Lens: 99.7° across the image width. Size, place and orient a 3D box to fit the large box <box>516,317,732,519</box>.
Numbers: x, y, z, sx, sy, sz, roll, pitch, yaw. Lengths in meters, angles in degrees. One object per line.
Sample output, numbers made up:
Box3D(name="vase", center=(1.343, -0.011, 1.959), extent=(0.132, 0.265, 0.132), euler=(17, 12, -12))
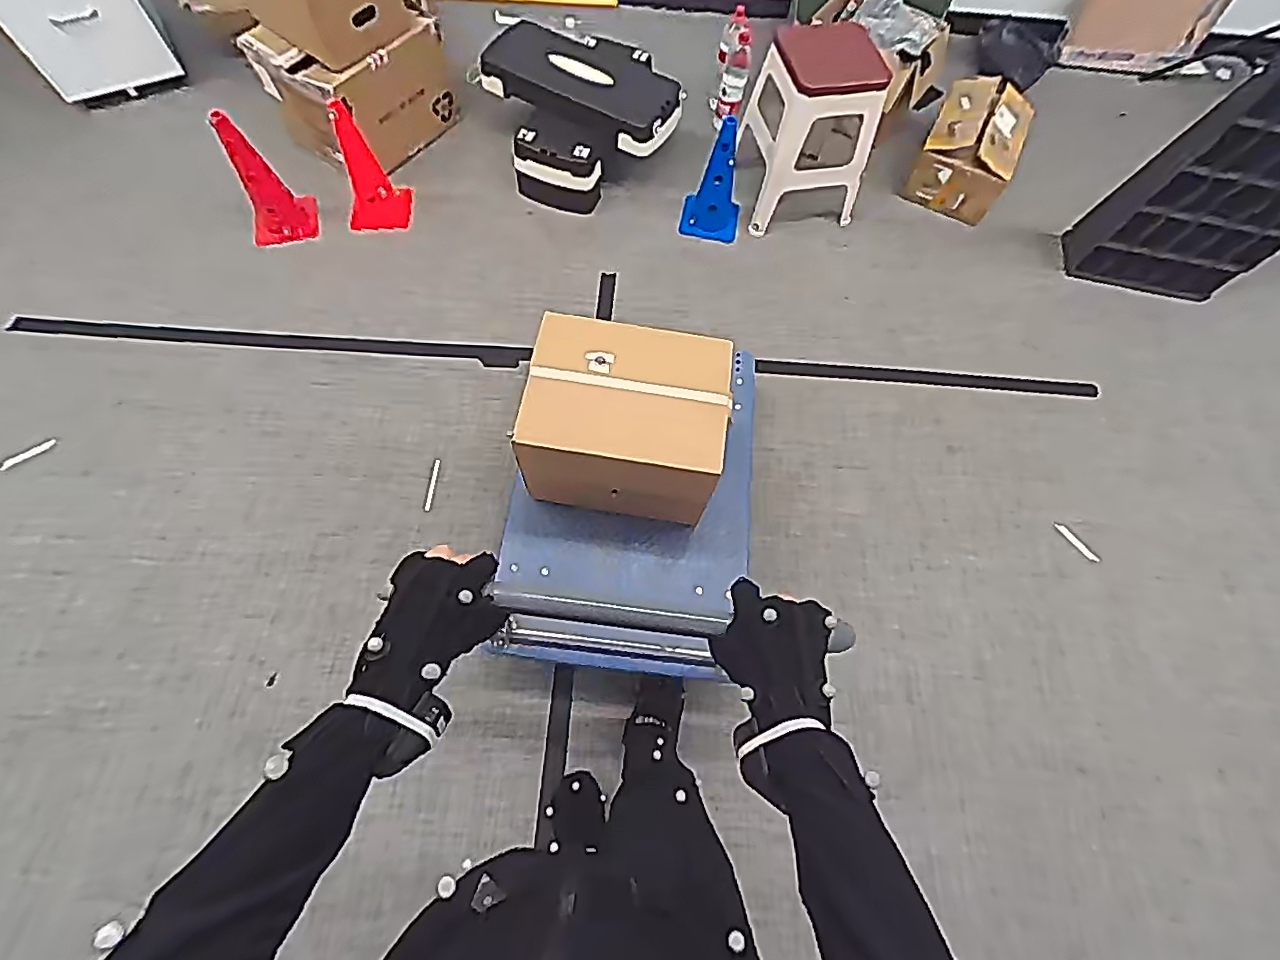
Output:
Box3D(name="large box", center=(-0.025, -0.123, 1.222), extent=(0.408, 0.320, 0.320), euler=(9, 67, 1))
